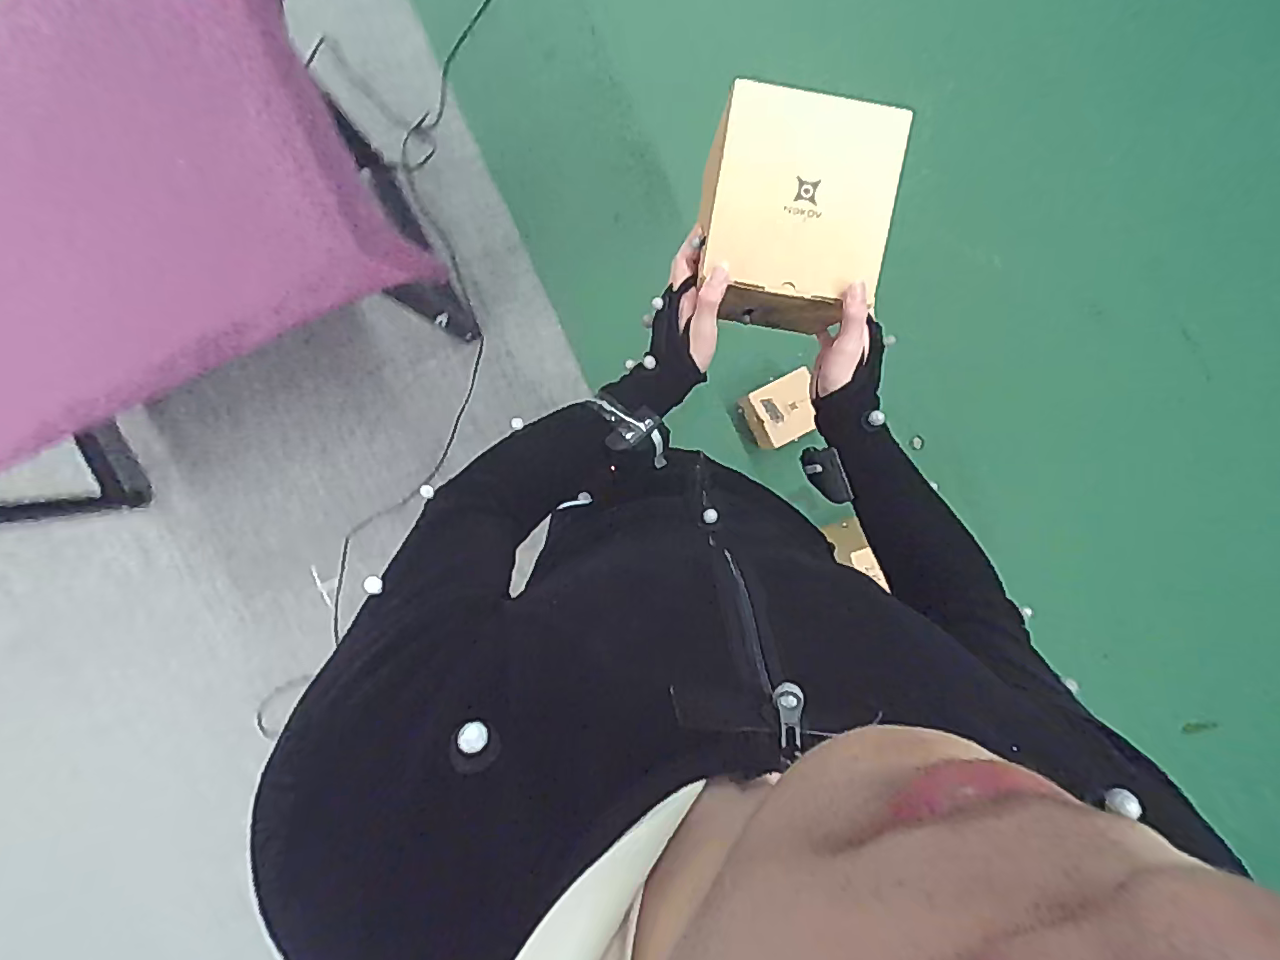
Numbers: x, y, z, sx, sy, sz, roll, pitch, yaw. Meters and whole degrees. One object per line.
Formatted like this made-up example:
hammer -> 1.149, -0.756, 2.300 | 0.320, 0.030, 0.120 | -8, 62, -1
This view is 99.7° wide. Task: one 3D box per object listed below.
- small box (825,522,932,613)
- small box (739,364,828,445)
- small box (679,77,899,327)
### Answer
small box -> 0.605, 0.216, 1.389 | 0.179, 0.176, 0.168 | -18, 93, 1
small box -> 0.395, -0.206, 1.527 | 0.179, 0.176, 0.168 | -27, 93, 0
small box -> 0.139, -0.272, 0.572 | 0.168, 0.176, 0.179 | 8, 98, -3
